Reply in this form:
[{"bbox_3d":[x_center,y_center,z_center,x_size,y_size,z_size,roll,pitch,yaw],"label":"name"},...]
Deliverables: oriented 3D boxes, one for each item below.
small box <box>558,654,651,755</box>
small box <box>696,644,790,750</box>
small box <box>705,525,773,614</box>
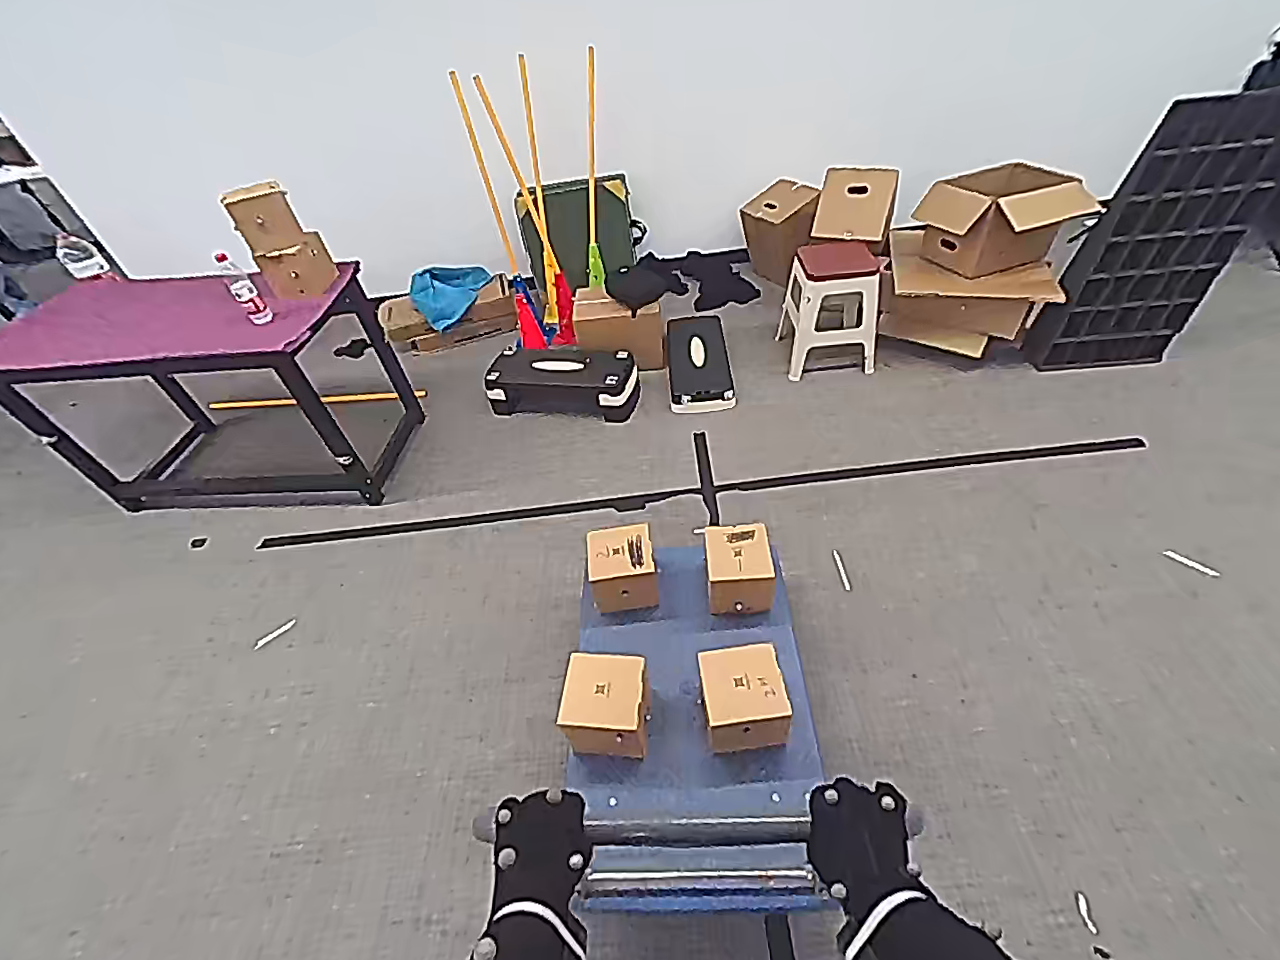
[{"bbox_3d":[-0.075,0.522,1.255,0.179,0.176,0.168,1,45,8],"label":"small box"},{"bbox_3d":[0.230,0.498,1.232,0.179,0.176,0.168,-8,45,1],"label":"small box"},{"bbox_3d":[0.263,0.245,1.476,0.168,0.176,0.179,-4,46,5],"label":"small box"}]
